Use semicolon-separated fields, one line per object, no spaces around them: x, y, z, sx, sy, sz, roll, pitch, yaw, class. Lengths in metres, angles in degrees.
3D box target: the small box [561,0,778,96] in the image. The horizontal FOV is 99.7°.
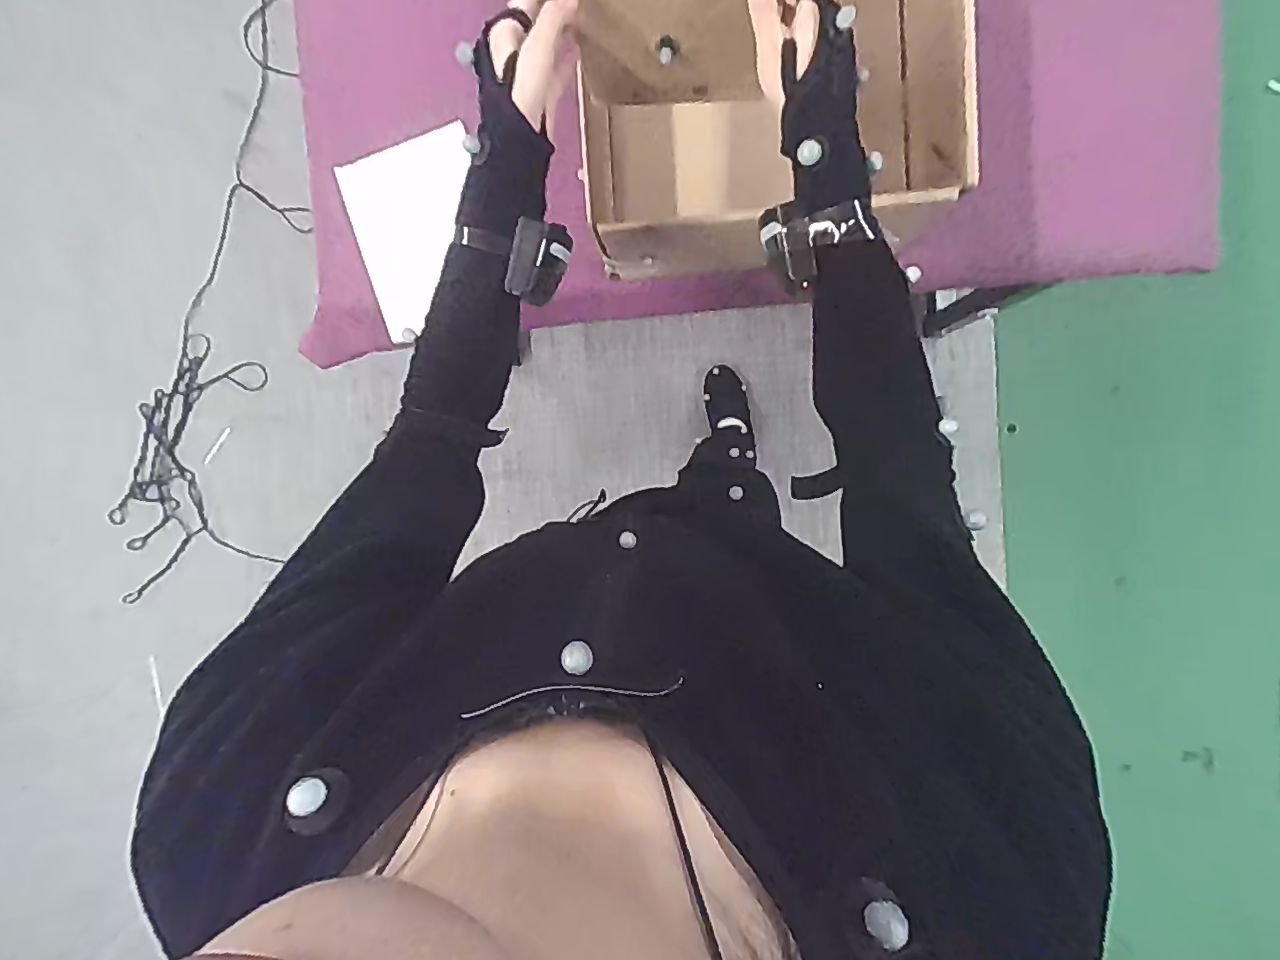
0.028;-0.435;0.422;0.168;0.176;0.179;2;94;6;small box
